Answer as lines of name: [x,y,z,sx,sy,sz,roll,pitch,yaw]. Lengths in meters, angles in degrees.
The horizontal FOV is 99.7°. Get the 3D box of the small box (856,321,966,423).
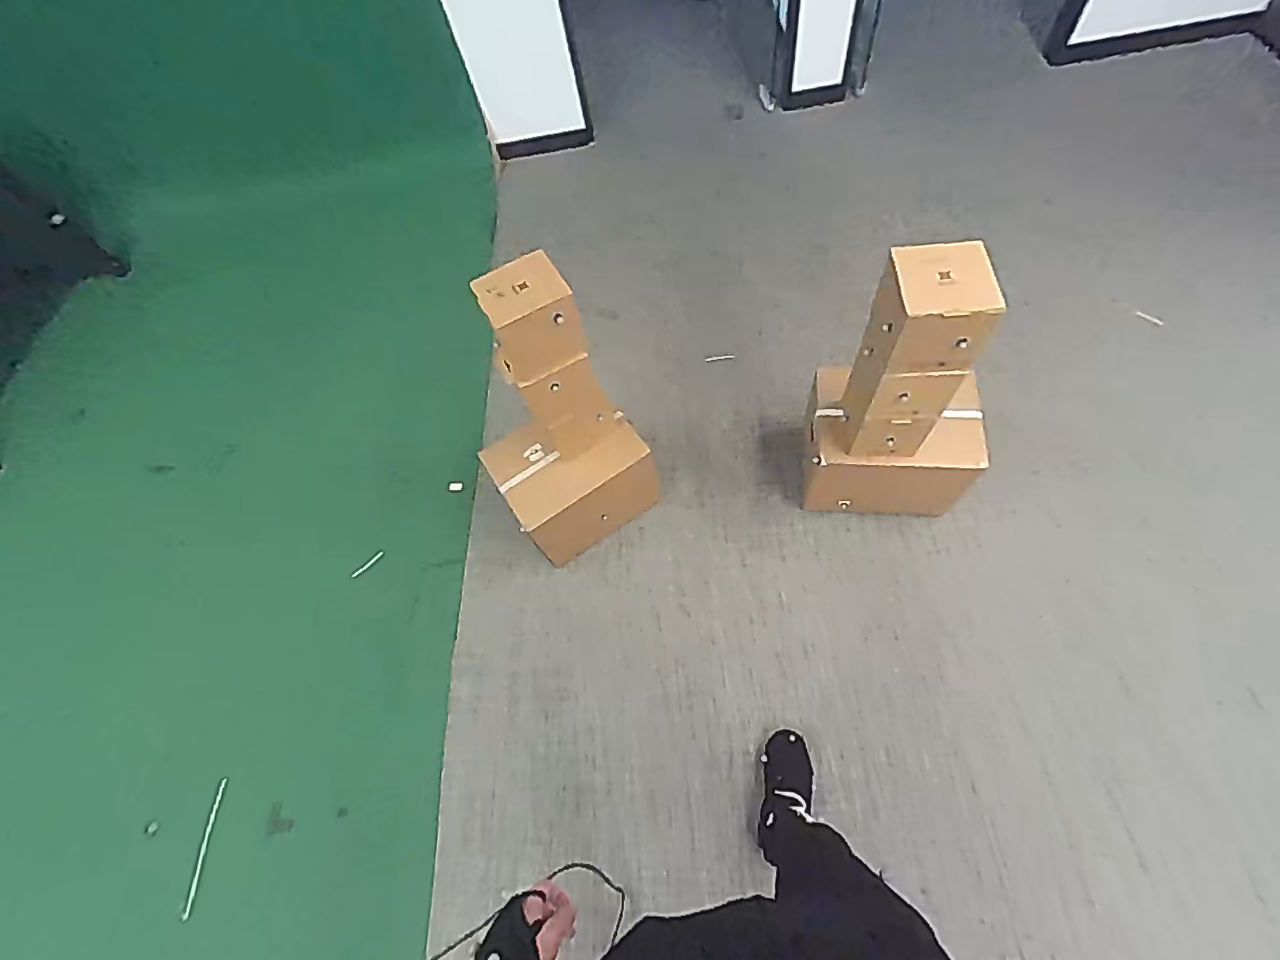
small box: [0.584,-0.236,1.190,0.168,0.176,0.179,-1,62,9]

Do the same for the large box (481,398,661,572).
large box: [-0.193,0.008,1.643,0.408,0.320,0.320,-34,62,-9]

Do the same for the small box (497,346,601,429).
small box: [-0.217,-0.254,1.318,0.179,0.176,0.168,-27,62,-7]

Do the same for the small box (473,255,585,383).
small box: [-0.233,-0.347,1.181,0.179,0.176,0.168,-28,61,-7]

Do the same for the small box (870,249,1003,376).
small box: [0.562,-0.316,1.049,0.168,0.176,0.179,-1,62,7]

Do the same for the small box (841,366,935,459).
small box: [0.603,-0.163,1.334,0.168,0.176,0.179,0,64,8]
